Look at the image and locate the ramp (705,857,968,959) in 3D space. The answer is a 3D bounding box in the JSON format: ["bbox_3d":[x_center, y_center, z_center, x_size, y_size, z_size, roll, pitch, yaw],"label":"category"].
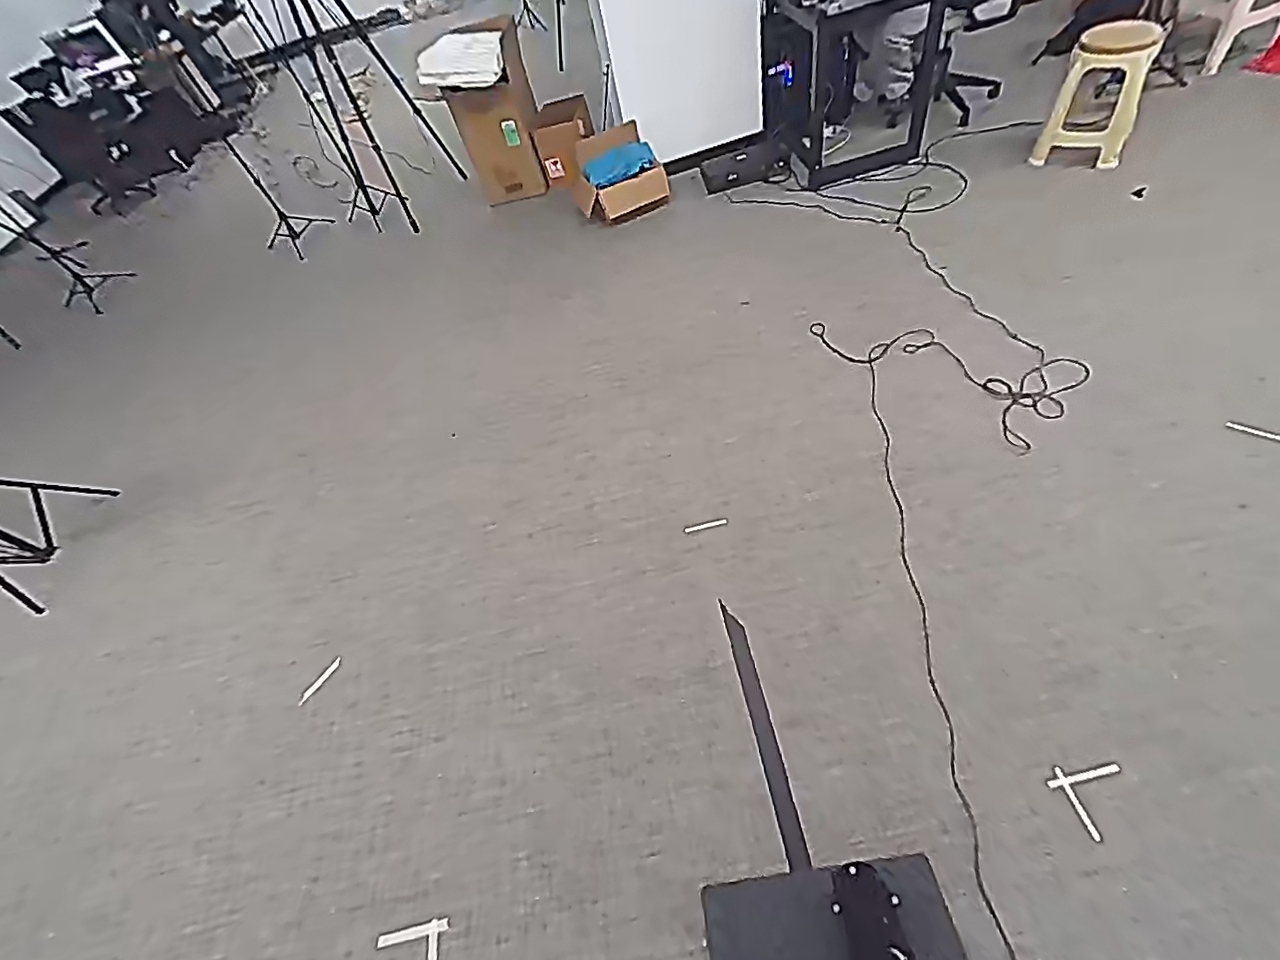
[{"bbox_3d":[0.415,1.181,0.799,0.509,0.206,0.991,-15,50,5],"label":"ramp"}]
